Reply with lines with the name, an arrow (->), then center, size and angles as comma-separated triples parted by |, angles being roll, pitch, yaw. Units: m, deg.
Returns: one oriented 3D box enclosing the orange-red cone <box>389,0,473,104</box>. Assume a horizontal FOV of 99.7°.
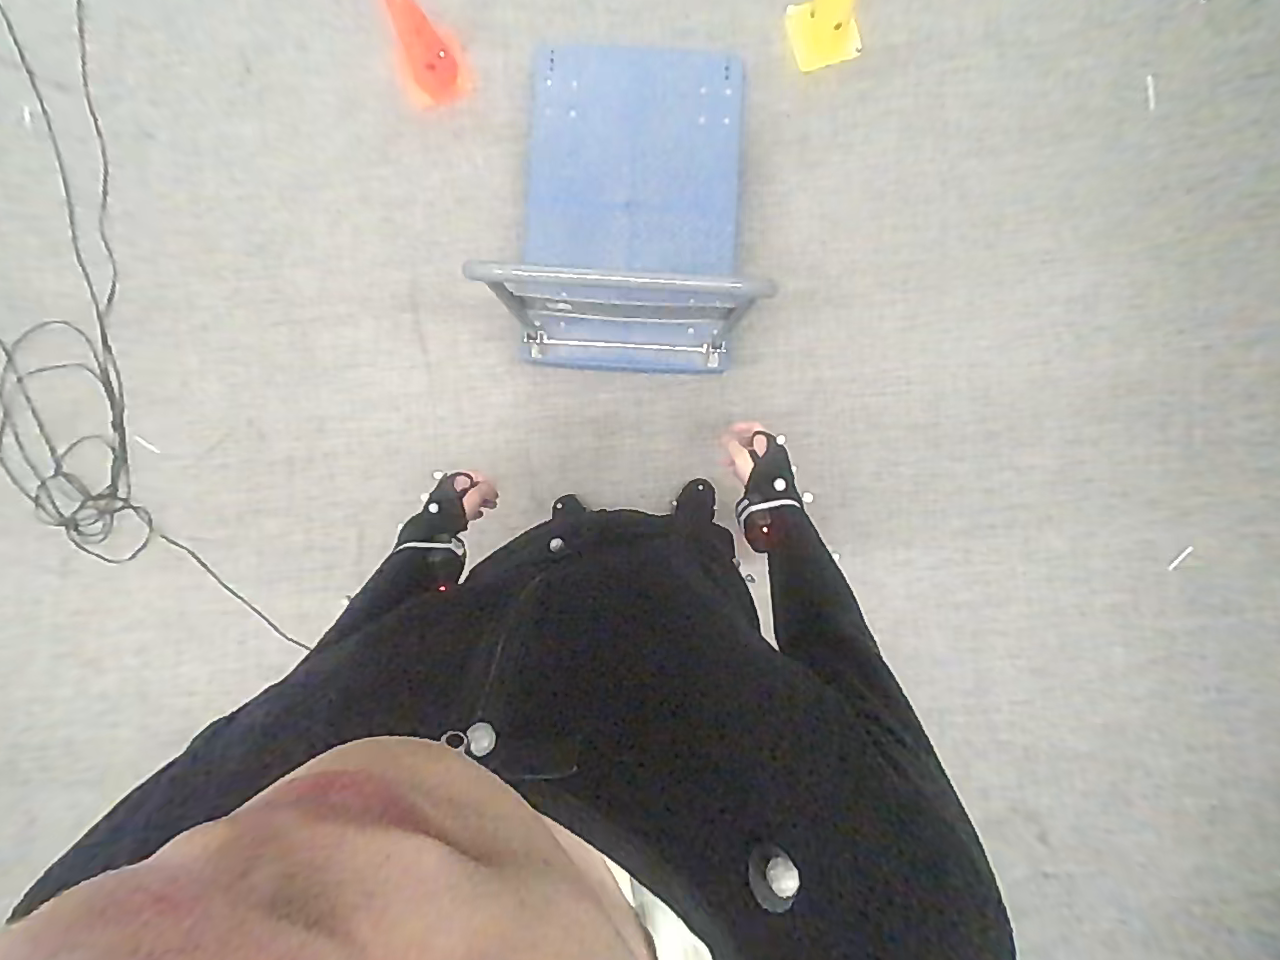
orange-red cone -> -0.628, -1.261, 1.475 | 0.199, 0.360, 0.198 | -19, 89, 2
